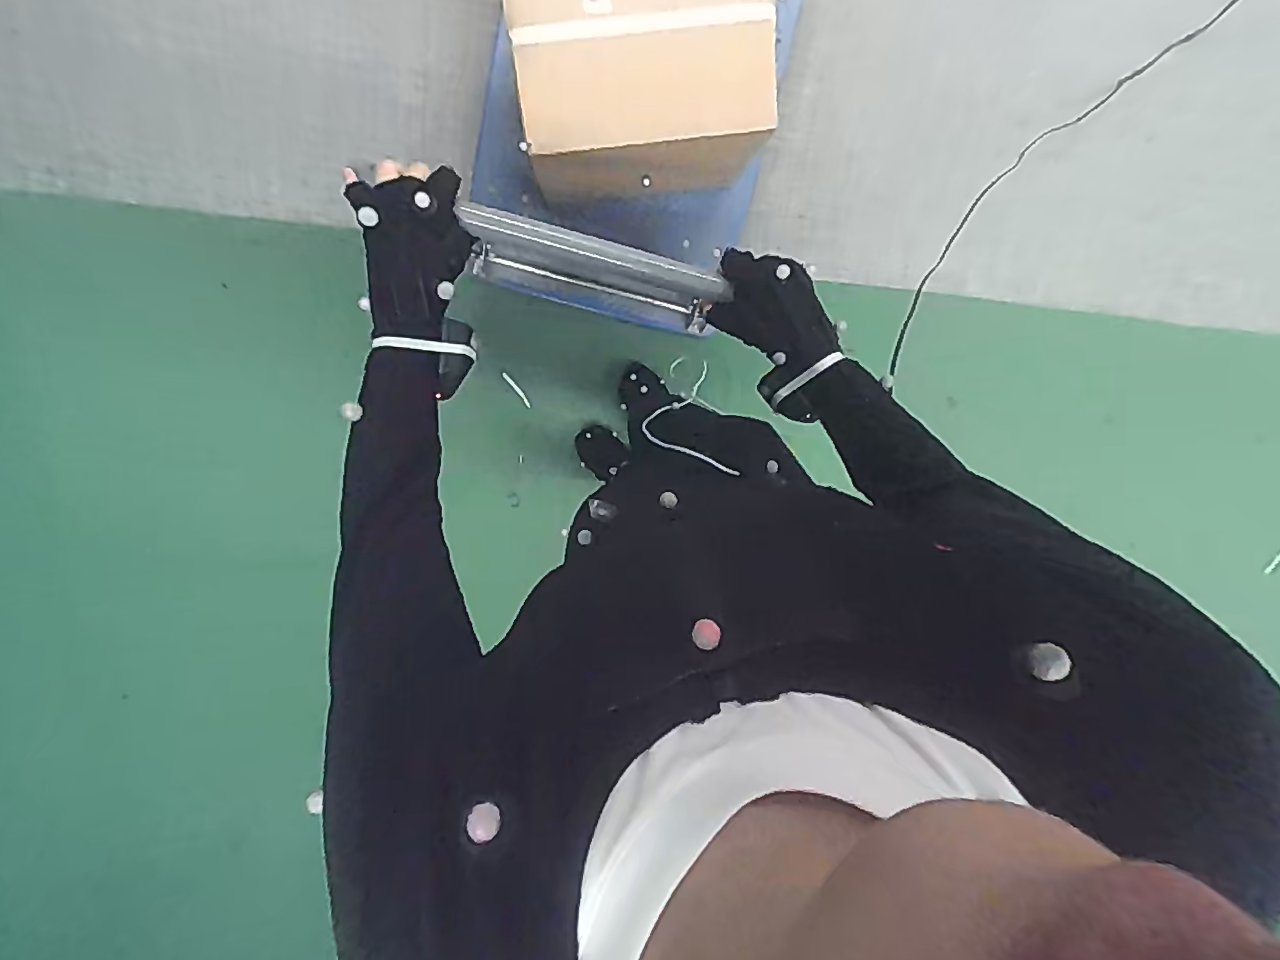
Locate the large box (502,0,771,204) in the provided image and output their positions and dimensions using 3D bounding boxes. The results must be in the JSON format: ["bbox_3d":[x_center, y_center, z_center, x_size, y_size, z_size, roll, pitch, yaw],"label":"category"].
[{"bbox_3d":[-0.011,-0.713,0.967,0.408,0.320,0.320,-7,104,-2],"label":"large box"}]
